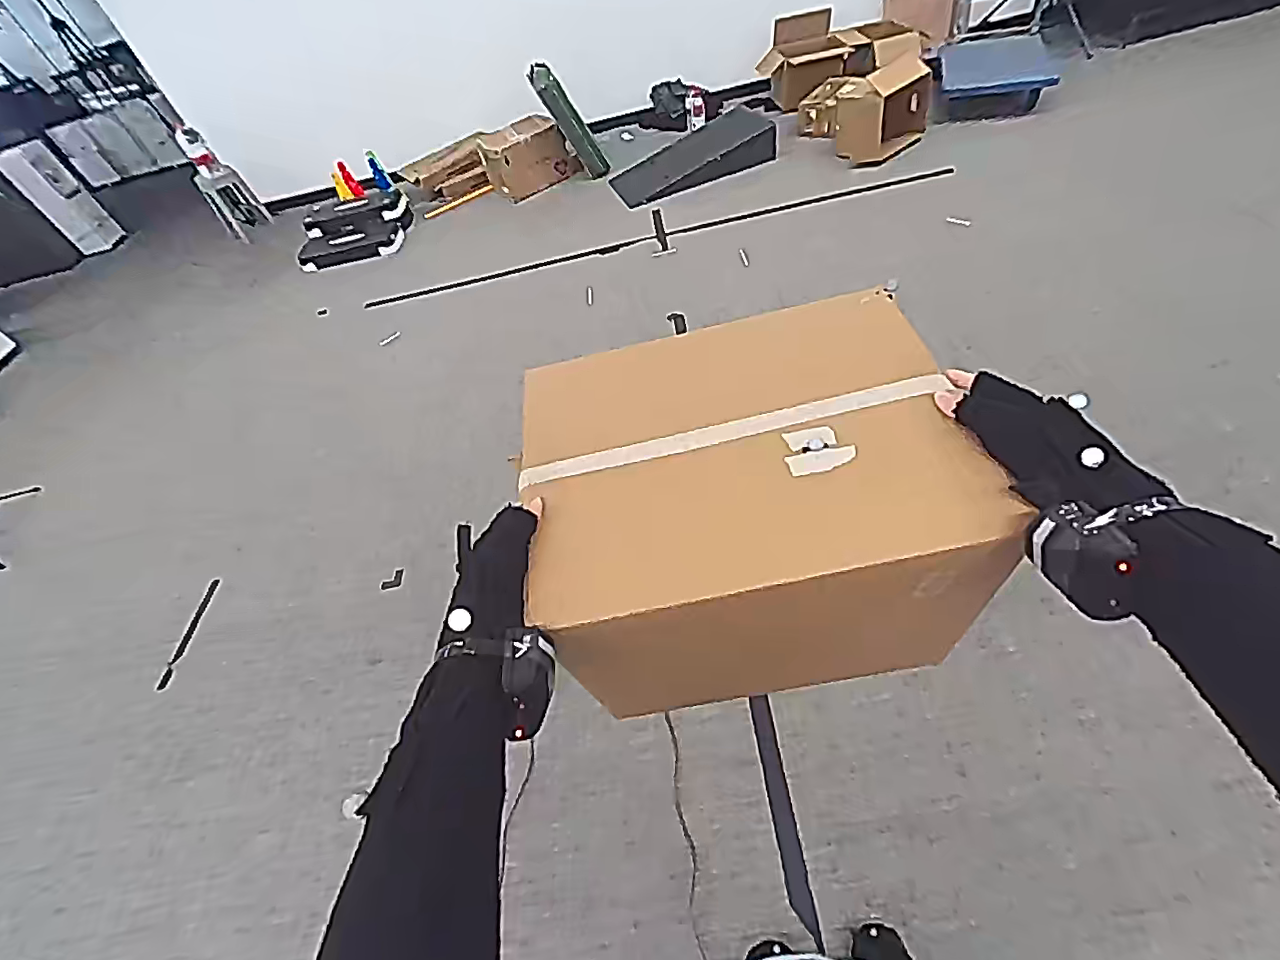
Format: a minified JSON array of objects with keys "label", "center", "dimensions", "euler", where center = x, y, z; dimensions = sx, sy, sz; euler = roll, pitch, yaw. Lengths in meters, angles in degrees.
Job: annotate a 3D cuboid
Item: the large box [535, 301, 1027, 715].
[{"label":"large box","center":[0.118,0.049,0.640],"dimensions":[0.408,0.320,0.320],"euler":[-12,53,4]}]
